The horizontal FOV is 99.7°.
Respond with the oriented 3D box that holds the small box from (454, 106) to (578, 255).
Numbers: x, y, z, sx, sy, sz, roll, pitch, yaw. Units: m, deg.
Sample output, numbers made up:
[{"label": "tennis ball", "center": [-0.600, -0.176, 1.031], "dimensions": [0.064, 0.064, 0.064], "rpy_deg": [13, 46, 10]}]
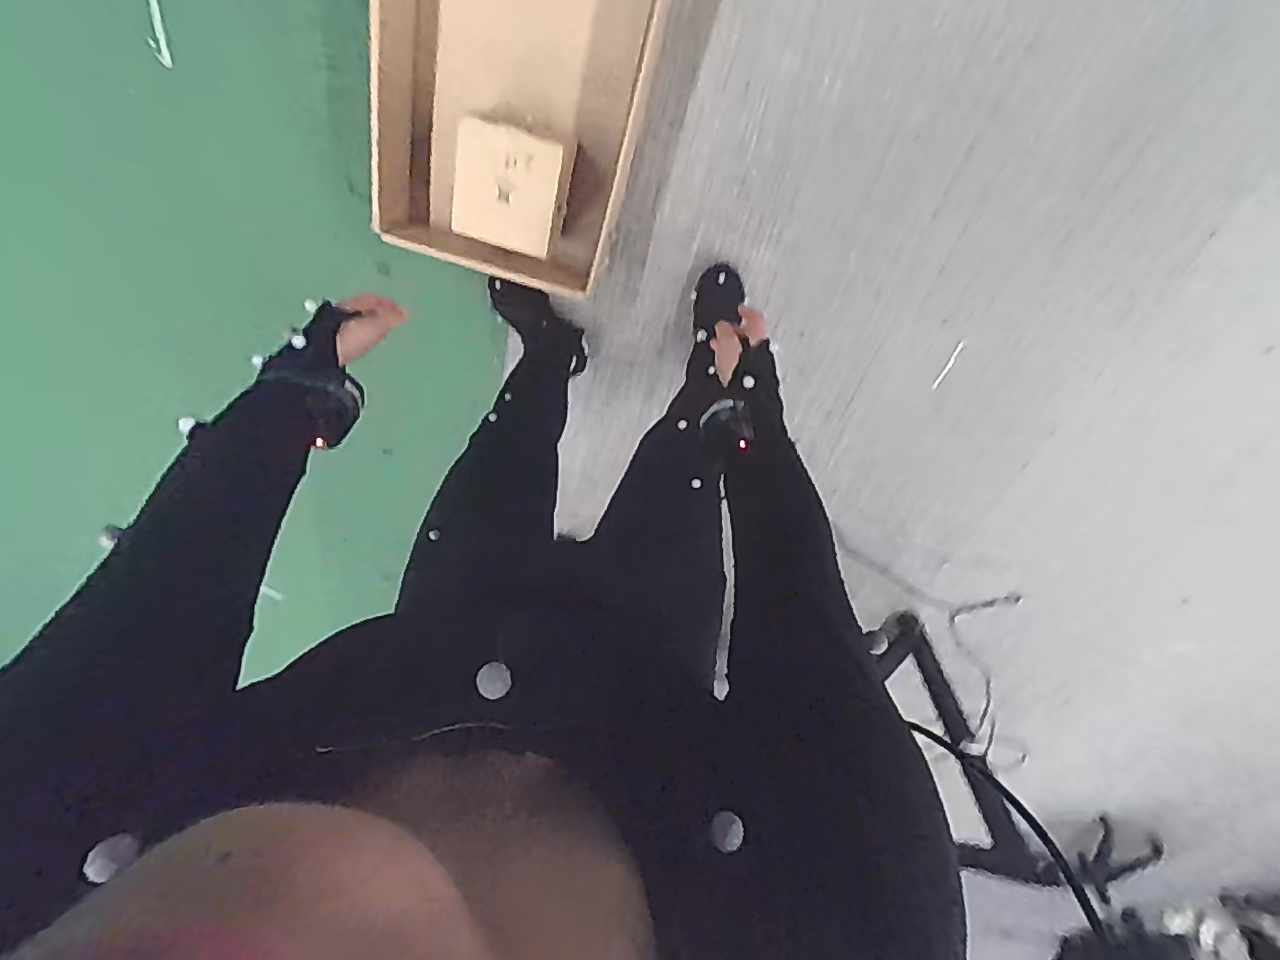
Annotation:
[{"label": "small box", "center": [-0.208, -0.518, 0.932], "dimensions": [0.168, 0.176, 0.179], "rpy_deg": [14, 124, -8]}]
